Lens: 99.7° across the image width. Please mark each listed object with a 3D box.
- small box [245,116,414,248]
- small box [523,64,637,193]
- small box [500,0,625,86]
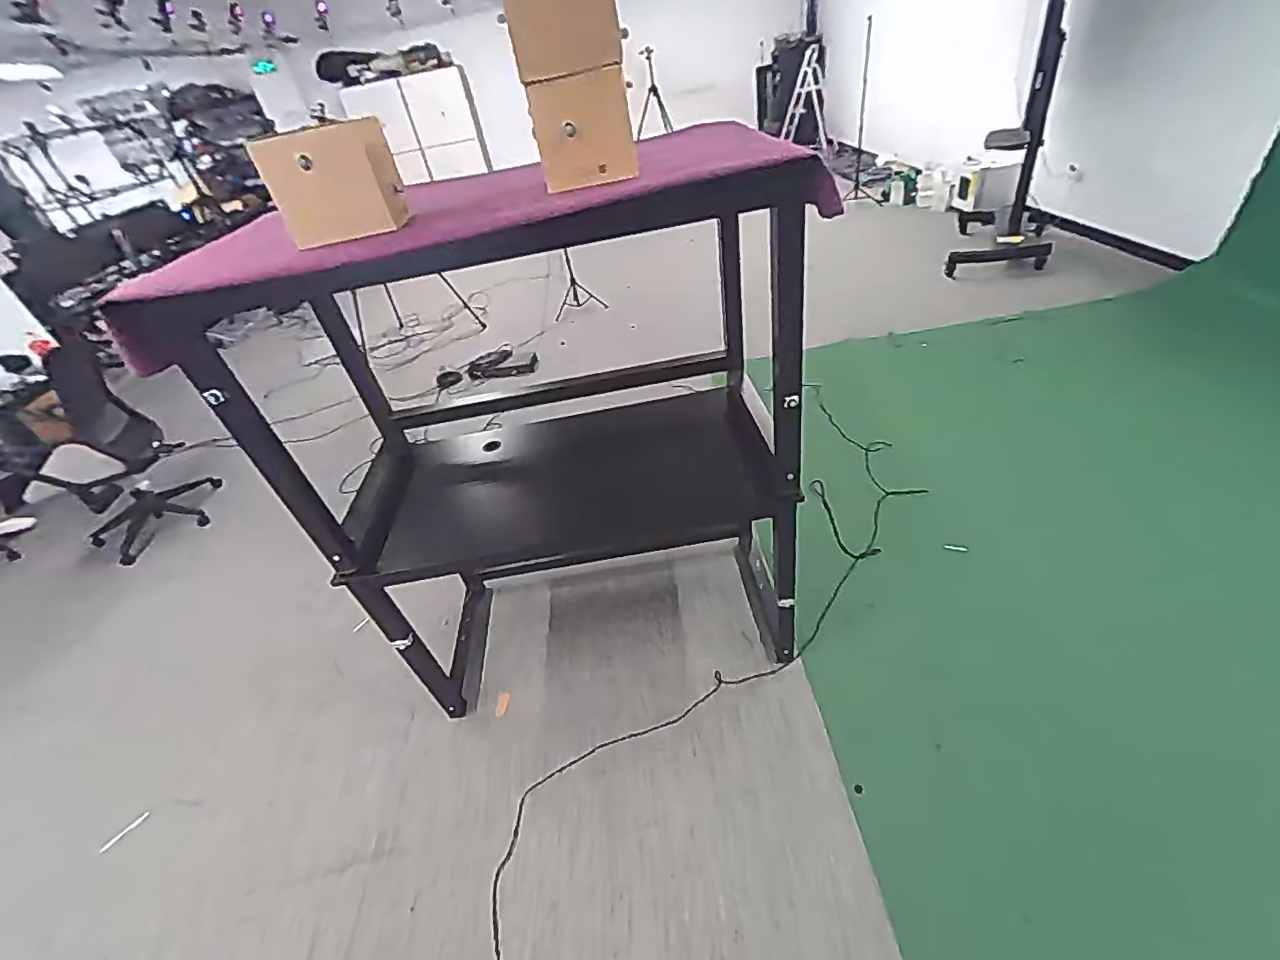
[{"bbox_3d":[-0.532,-0.525,0.955,0.179,0.176,0.168,-13,38,-1],"label":"small box"},{"bbox_3d":[-0.099,-0.639,0.990,0.168,0.176,0.179,-9,36,5],"label":"small box"},{"bbox_3d":[-0.129,-0.762,0.886,0.179,0.176,0.168,-10,37,2],"label":"small box"}]
